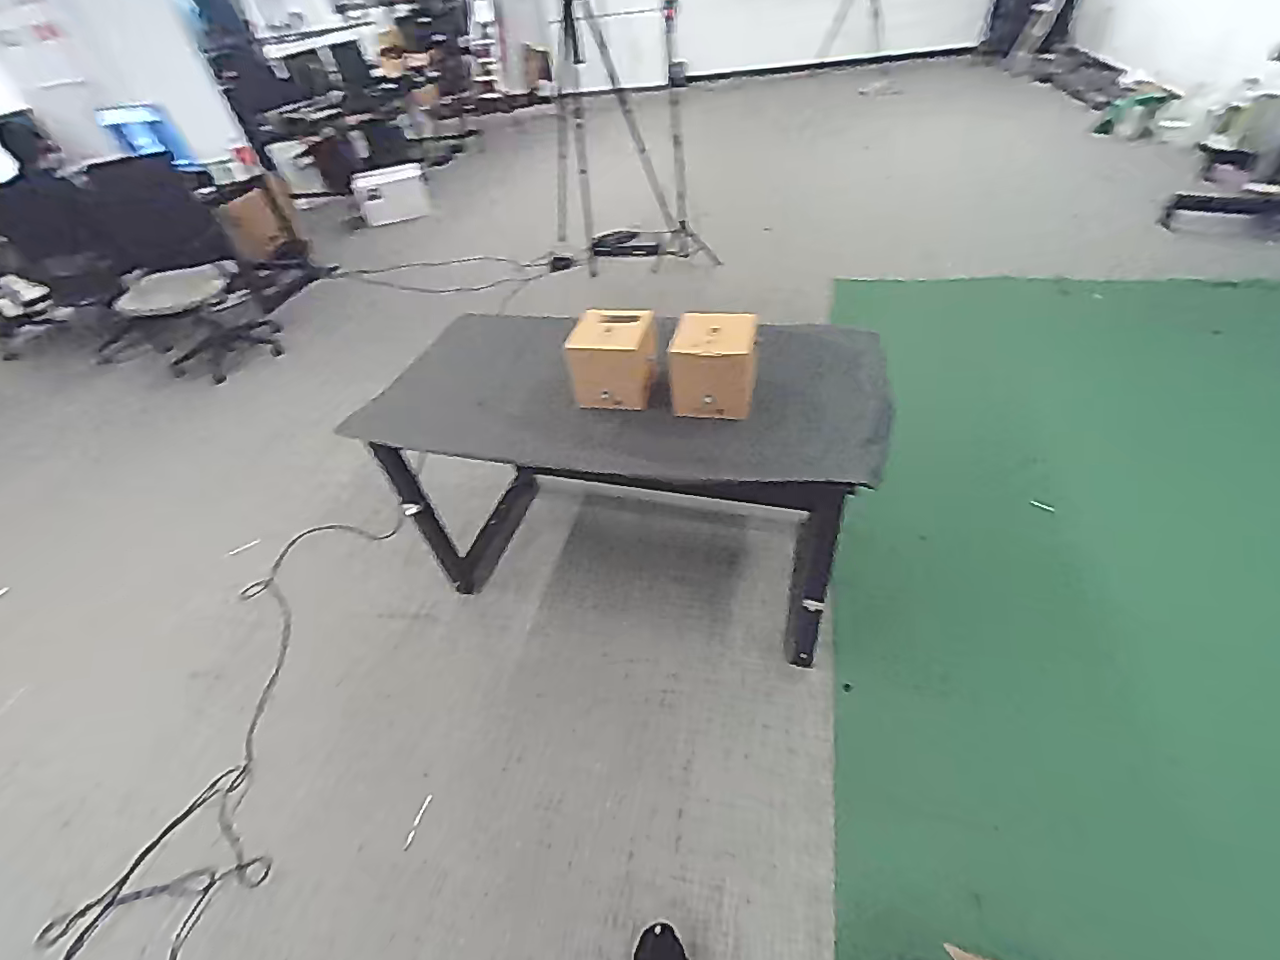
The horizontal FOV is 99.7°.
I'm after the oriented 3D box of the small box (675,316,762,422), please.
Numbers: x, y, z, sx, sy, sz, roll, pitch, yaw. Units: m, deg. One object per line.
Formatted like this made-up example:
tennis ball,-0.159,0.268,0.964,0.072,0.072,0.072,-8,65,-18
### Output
small box,0.181,-0.254,1.226,0.168,0.176,0.179,6,45,16
